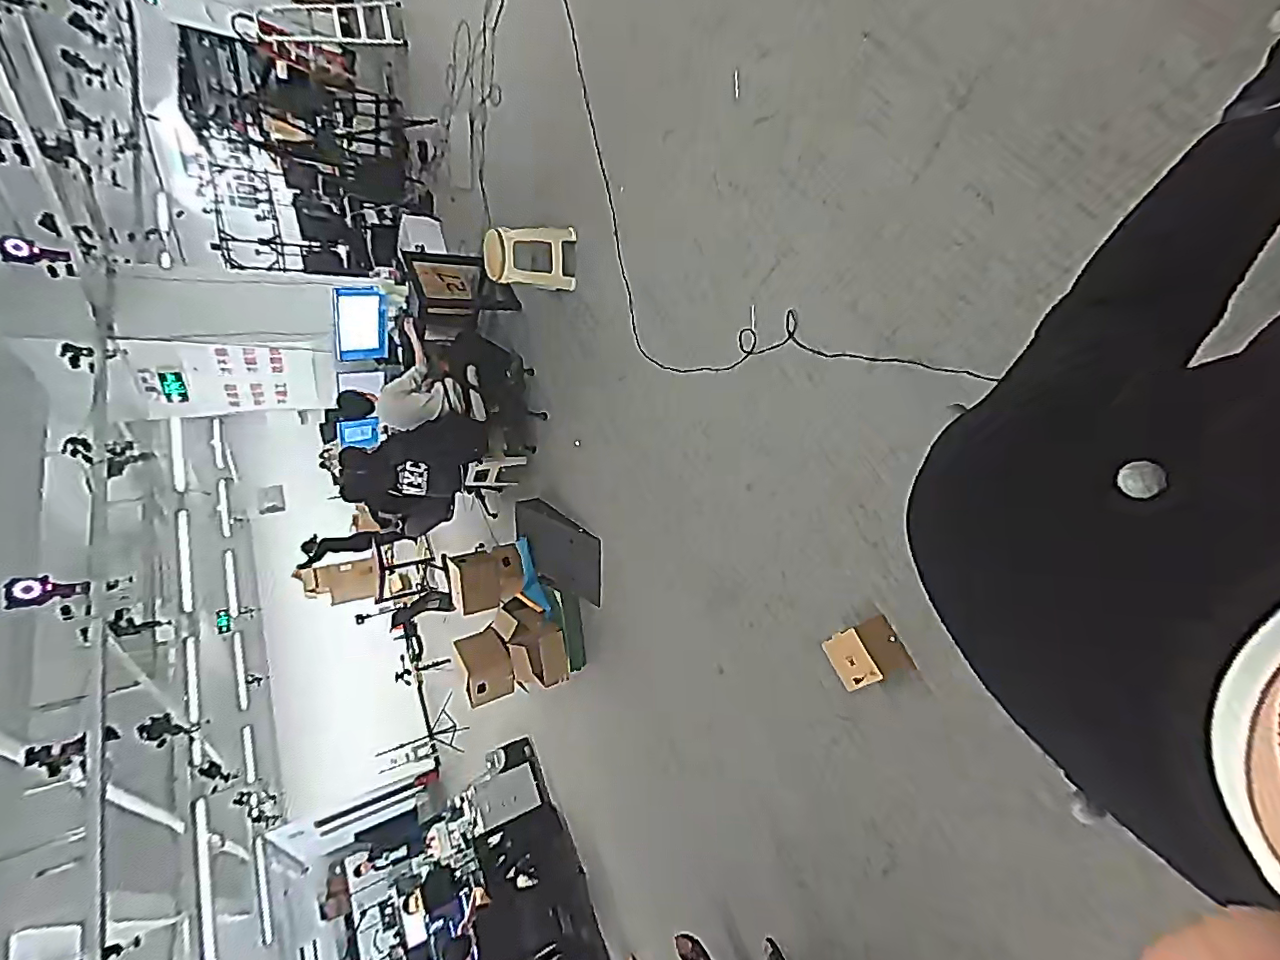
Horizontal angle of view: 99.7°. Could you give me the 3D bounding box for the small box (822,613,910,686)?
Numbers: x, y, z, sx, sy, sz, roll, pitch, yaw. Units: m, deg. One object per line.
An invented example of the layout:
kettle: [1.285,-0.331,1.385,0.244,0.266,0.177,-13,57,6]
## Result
small box: [0.763,0.567,1.826,0.179,0.176,0.168,63,145,23]
